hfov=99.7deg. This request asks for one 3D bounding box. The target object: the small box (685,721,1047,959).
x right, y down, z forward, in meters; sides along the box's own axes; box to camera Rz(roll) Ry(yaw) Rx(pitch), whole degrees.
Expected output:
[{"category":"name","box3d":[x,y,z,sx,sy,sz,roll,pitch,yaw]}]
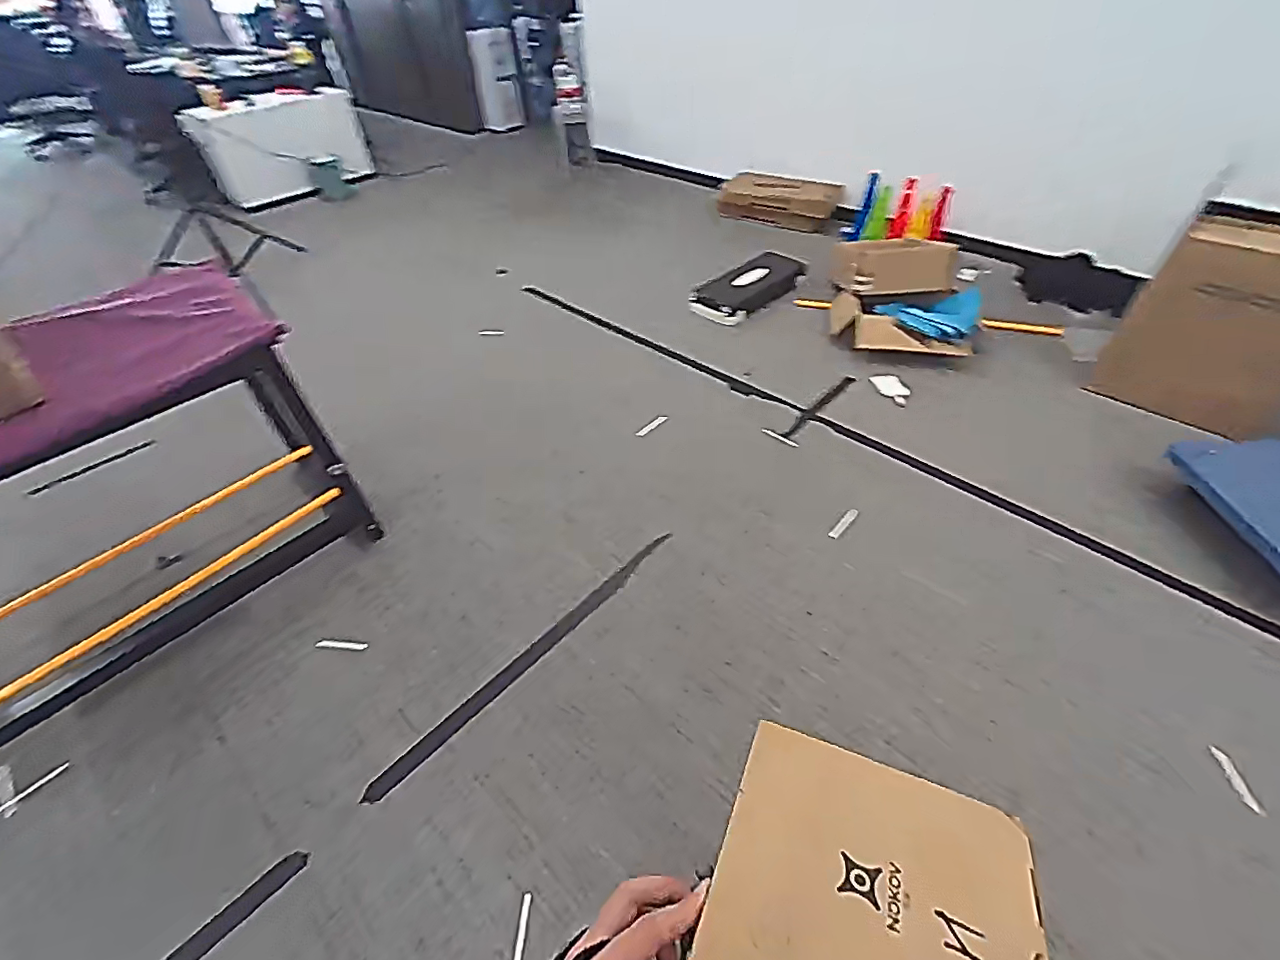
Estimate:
[{"category":"small box","box3d":[0.132,0.303,0.351,0.179,0.176,0.168,13,33,20]}]
